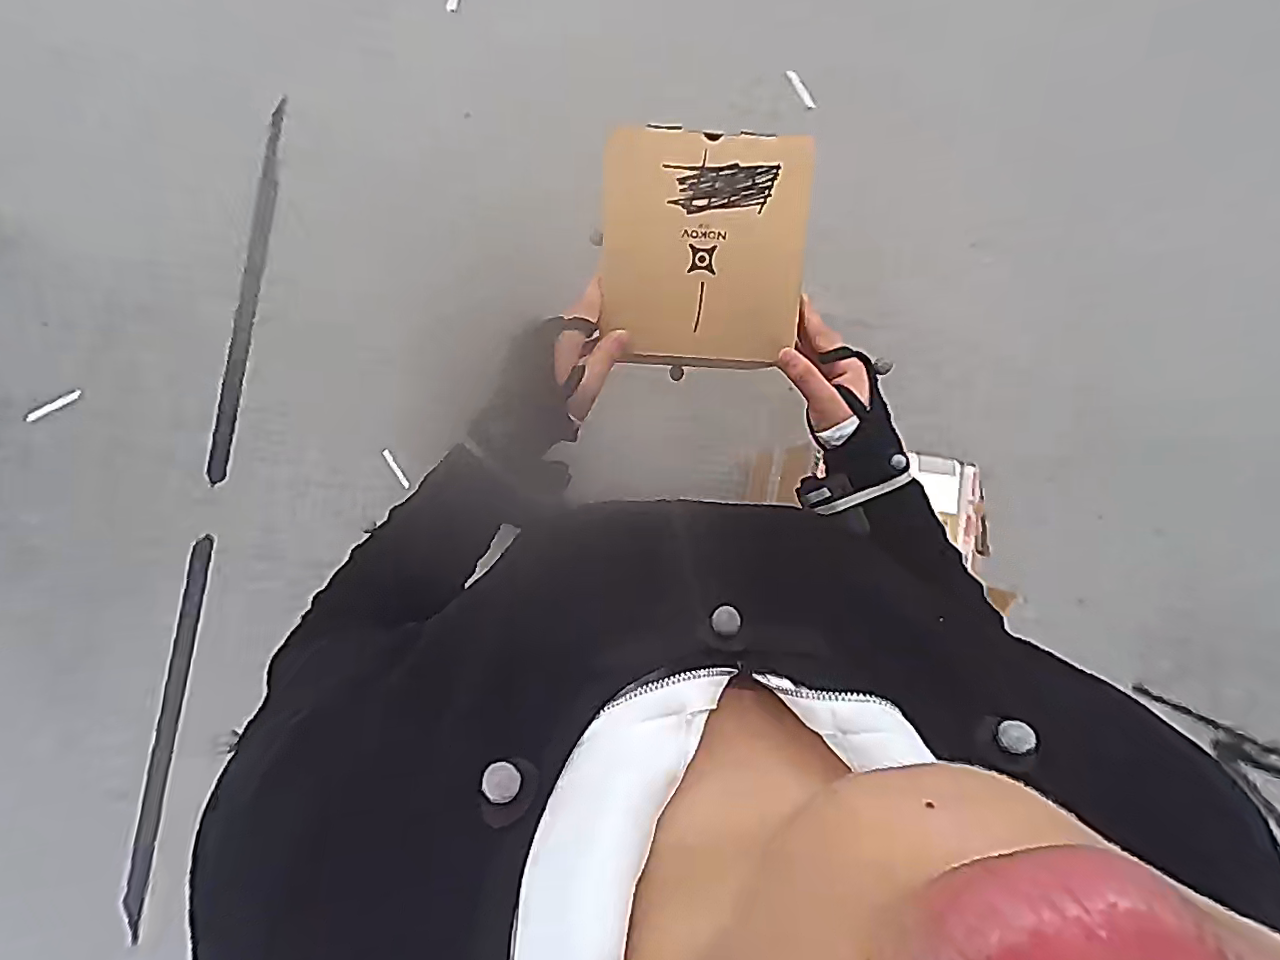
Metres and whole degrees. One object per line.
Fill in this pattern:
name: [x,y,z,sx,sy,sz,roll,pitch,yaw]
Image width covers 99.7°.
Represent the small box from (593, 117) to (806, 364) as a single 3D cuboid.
small box: [0.045,-0.207,0.515,0.168,0.176,0.179,3,100,-1]
